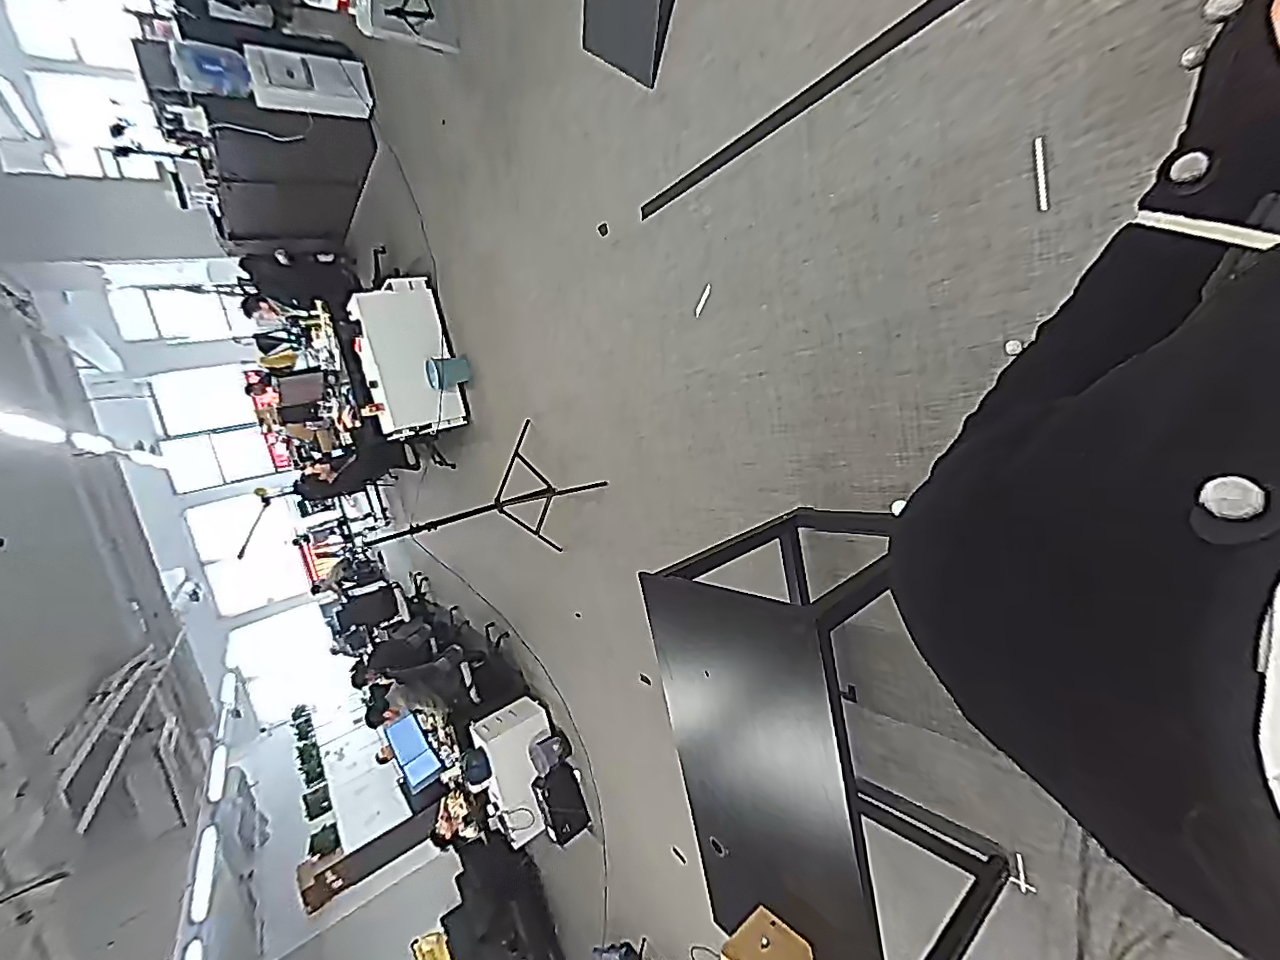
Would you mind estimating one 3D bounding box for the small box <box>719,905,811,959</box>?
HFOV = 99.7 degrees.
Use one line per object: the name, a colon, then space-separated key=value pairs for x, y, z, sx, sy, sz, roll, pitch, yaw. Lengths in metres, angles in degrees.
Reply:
small box: x=0.333 y=1.265 z=1.395 sx=0.168 sy=0.176 sz=0.179 roll=-3 pitch=102 yaw=55
